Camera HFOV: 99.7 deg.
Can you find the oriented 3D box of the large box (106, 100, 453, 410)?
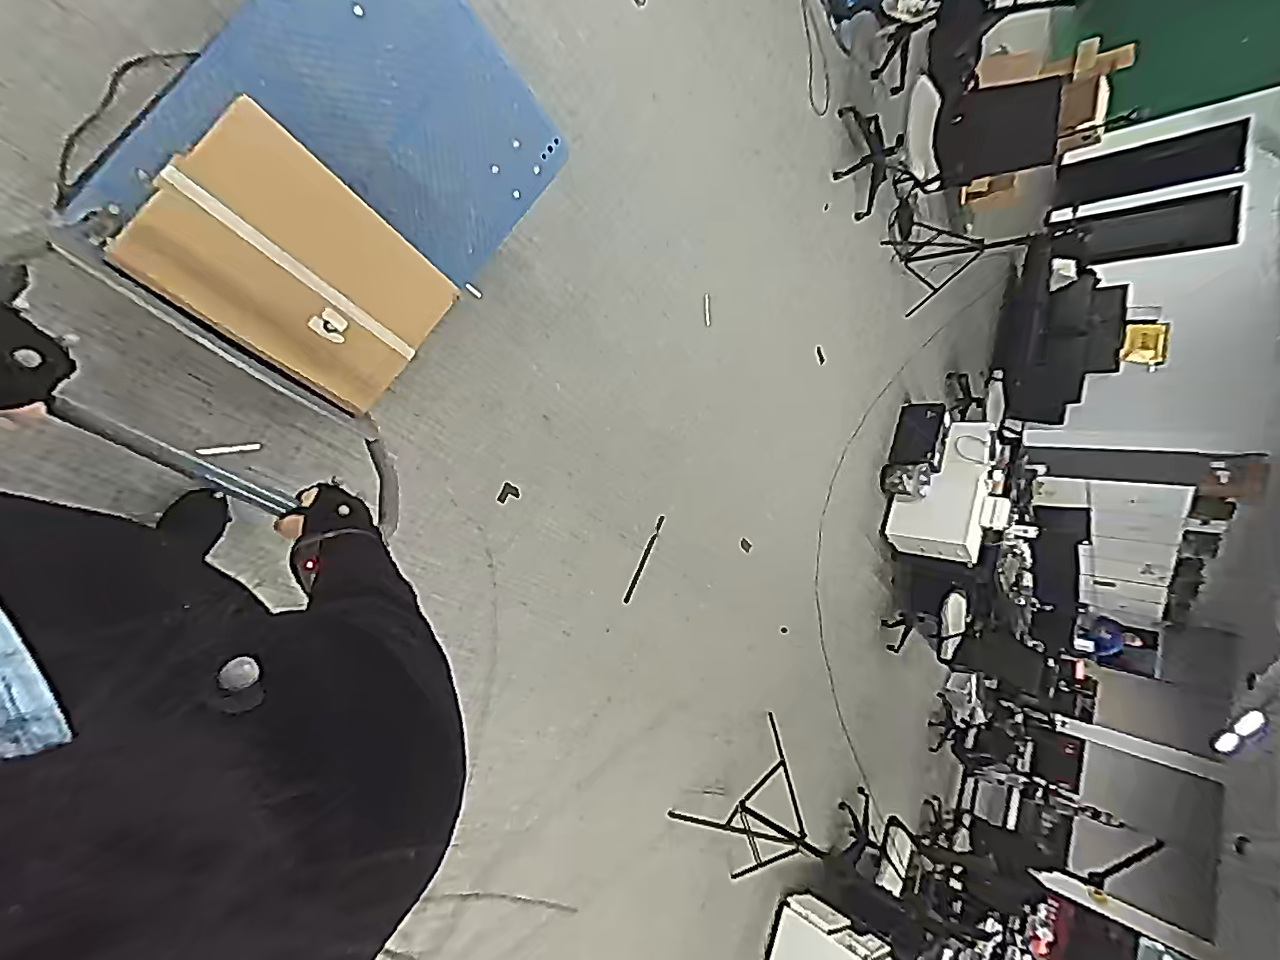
[{"bbox_3d":[-0.649,-0.399,1.019,0.320,0.320,0.408,-52,132,-3],"label":"large box"}]
